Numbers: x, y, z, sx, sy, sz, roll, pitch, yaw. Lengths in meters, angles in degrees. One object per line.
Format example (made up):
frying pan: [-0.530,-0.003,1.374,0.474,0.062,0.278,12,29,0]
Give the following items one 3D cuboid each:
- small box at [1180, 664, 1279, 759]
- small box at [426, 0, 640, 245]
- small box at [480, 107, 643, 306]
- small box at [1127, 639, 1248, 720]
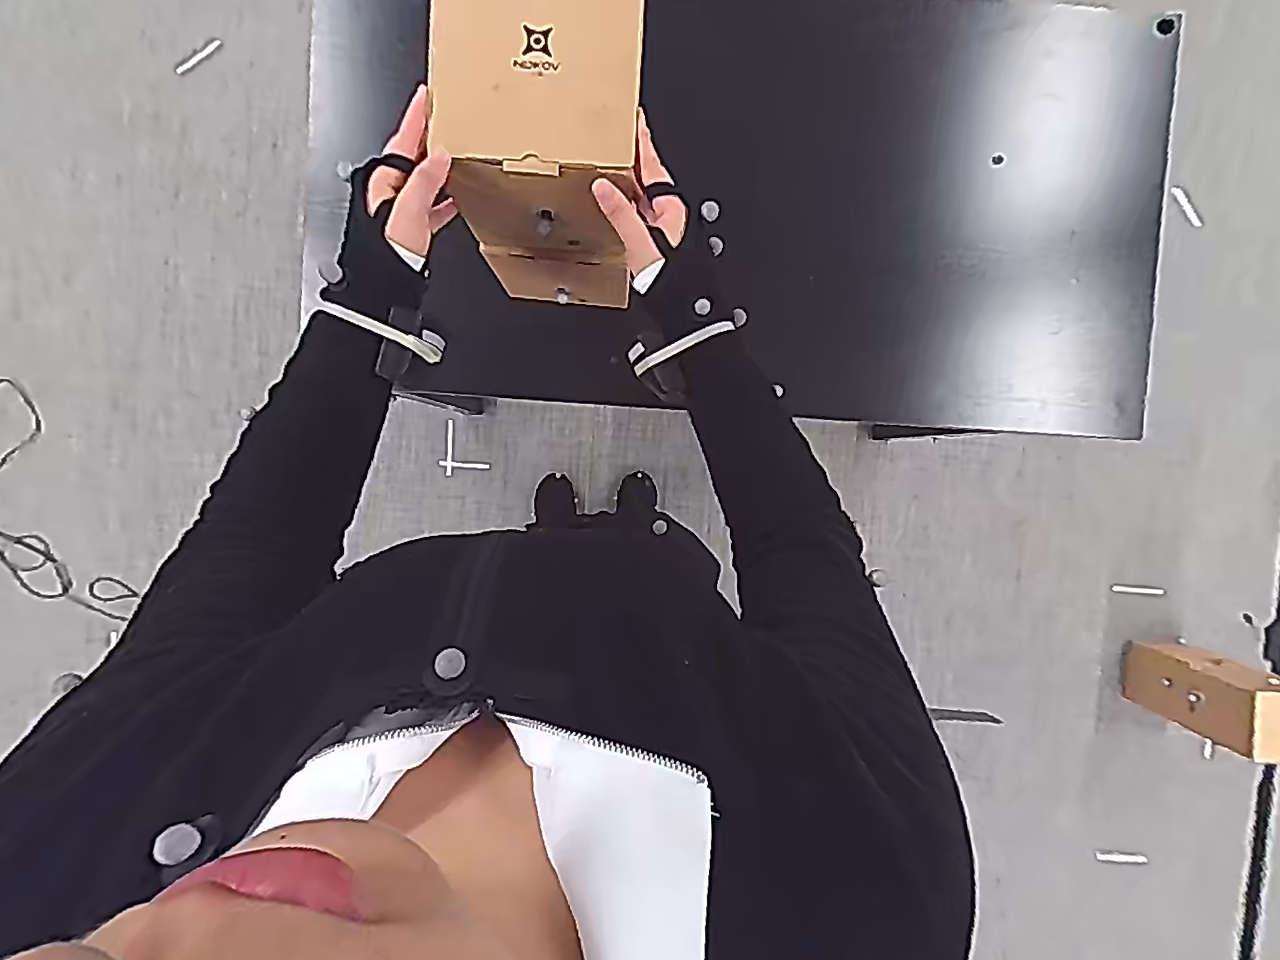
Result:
small box: [1.496,0.558,1.324,0.179,0.176,0.168,0,91,0]
small box: [-0.086,-0.338,0.507,0.168,0.176,0.179,3,93,-2]
small box: [-0.089,-0.335,0.671,0.168,0.176,0.179,5,92,-2]
small box: [1.495,0.547,1.486,0.168,0.176,0.179,2,93,-1]
